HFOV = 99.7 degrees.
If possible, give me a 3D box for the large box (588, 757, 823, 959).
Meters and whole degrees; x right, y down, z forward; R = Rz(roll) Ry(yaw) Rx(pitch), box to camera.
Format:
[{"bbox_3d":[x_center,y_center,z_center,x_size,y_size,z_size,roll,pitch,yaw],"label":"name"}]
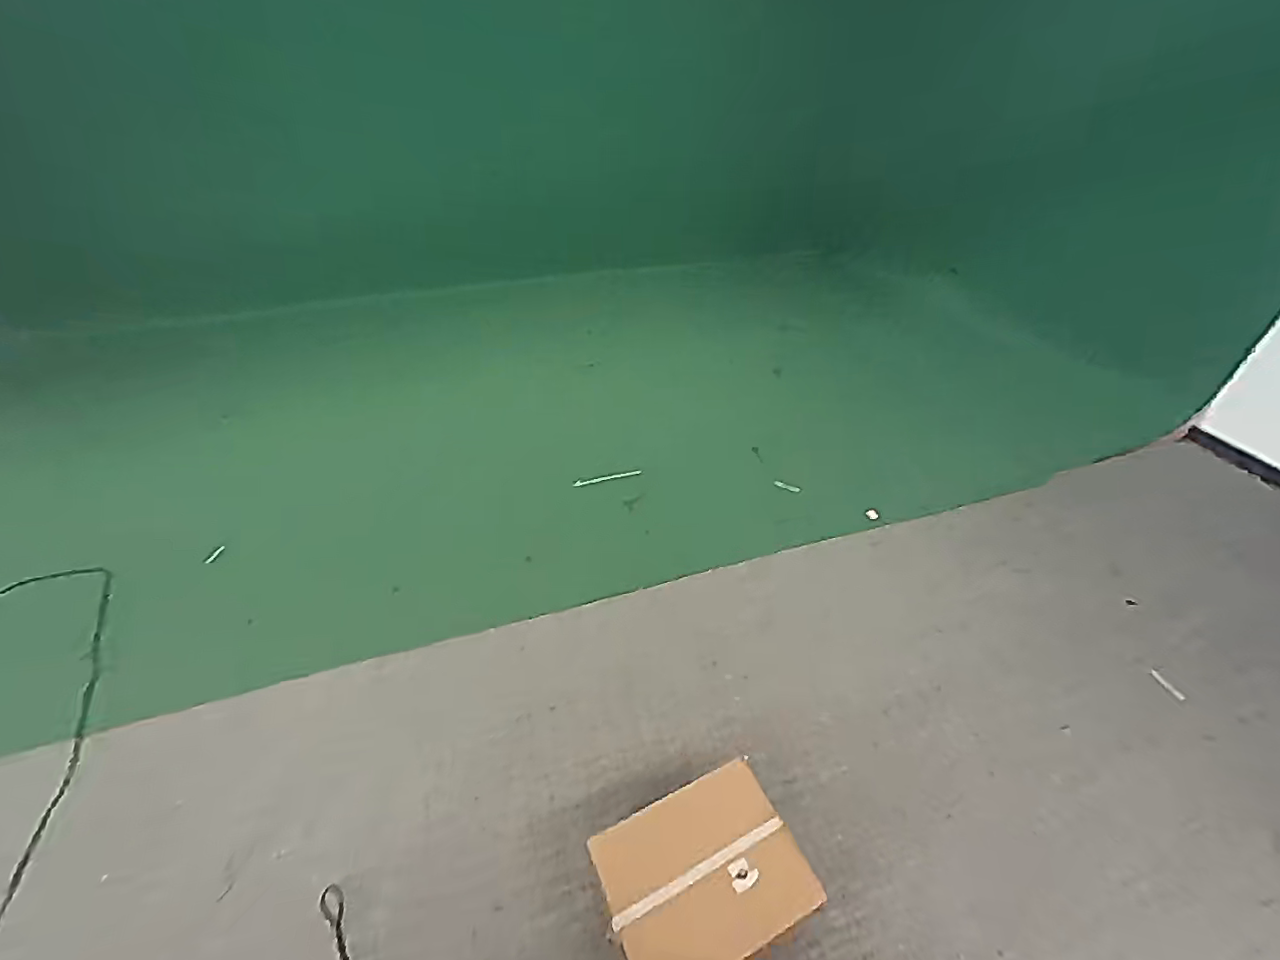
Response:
[{"bbox_3d":[0.130,0.923,1.220,0.408,0.320,0.320,-18,44,-20],"label":"large box"}]
